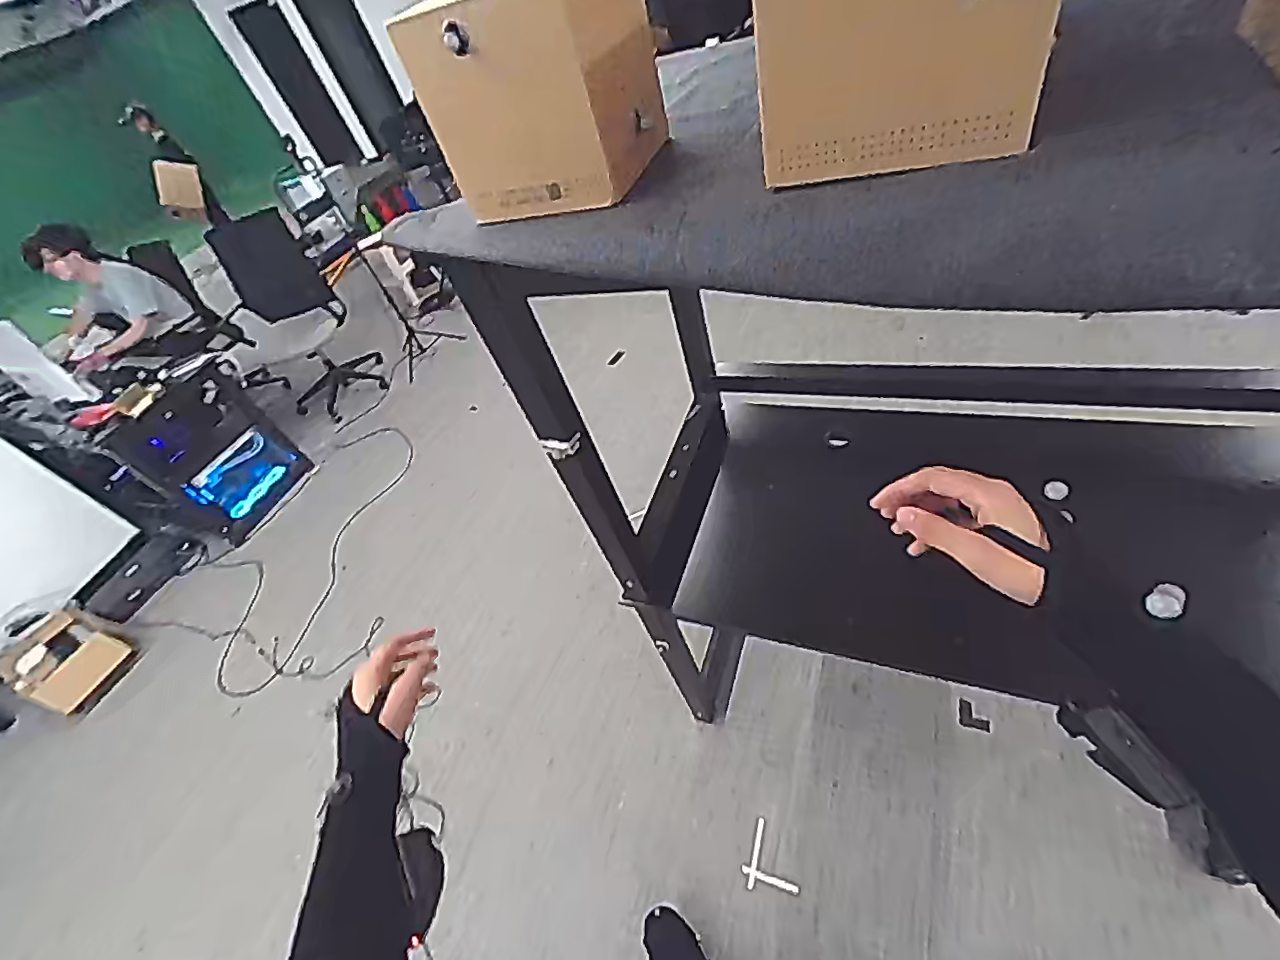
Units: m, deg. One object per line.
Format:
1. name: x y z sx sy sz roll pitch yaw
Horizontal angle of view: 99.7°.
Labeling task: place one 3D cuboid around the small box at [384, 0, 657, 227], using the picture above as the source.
1. small box: -0.092 -0.367 0.518 0.168 0.176 0.179 4 50 23
